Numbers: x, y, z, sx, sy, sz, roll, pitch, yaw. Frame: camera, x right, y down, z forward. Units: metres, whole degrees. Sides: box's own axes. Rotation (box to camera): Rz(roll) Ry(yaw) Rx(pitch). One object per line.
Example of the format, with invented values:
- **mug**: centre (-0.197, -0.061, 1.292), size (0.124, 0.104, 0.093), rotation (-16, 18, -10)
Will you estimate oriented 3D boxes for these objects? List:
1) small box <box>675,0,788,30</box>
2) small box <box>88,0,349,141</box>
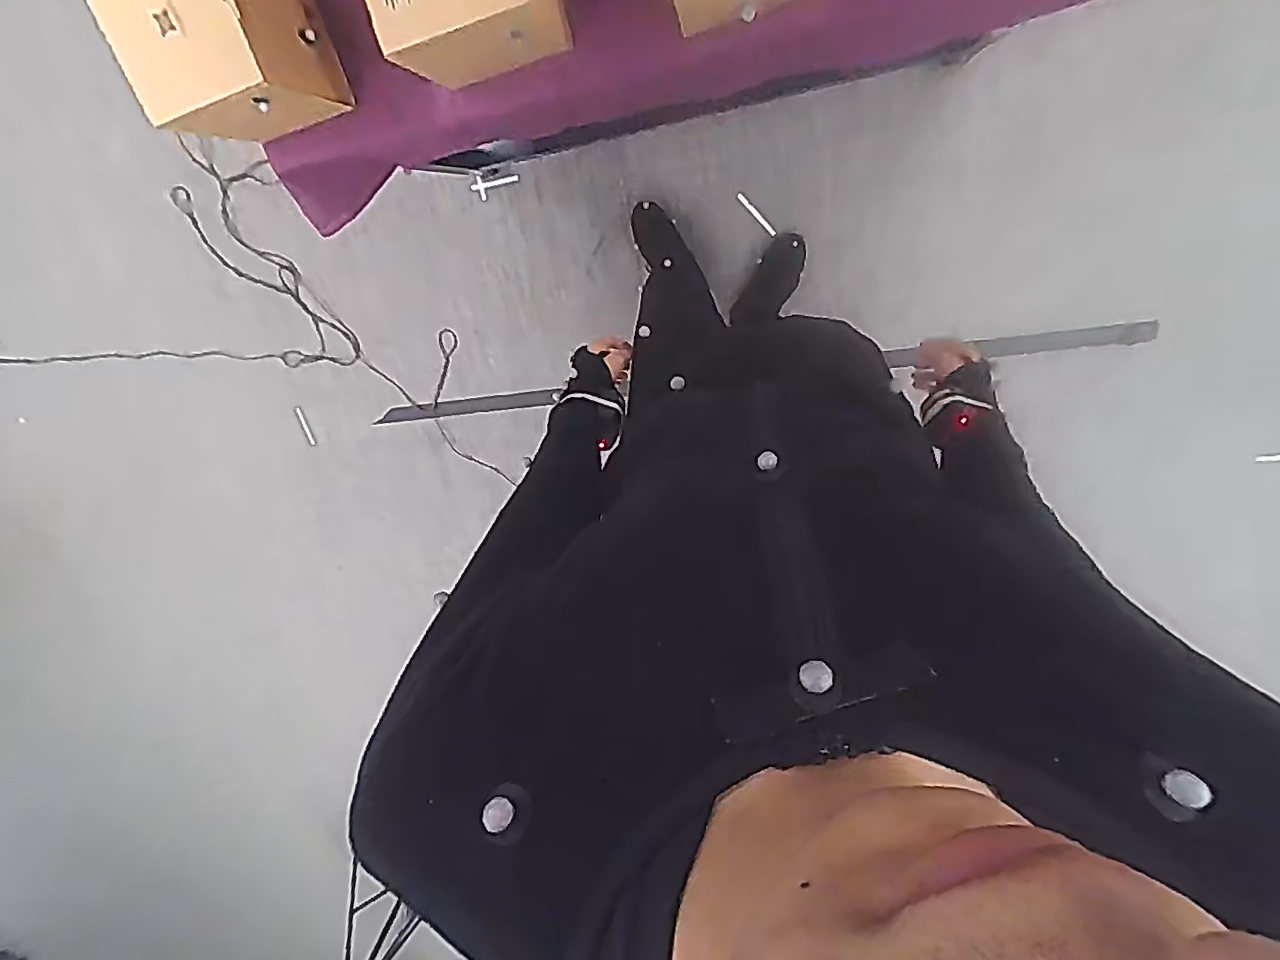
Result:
- **small box**: centre (0.097, -0.595, 0.533), size (0.168, 0.176, 0.179), rotation (-8, 115, 15)
- **small box**: centre (-0.514, -0.545, 0.673), size (0.179, 0.176, 0.168), rotation (-10, 114, 14)
